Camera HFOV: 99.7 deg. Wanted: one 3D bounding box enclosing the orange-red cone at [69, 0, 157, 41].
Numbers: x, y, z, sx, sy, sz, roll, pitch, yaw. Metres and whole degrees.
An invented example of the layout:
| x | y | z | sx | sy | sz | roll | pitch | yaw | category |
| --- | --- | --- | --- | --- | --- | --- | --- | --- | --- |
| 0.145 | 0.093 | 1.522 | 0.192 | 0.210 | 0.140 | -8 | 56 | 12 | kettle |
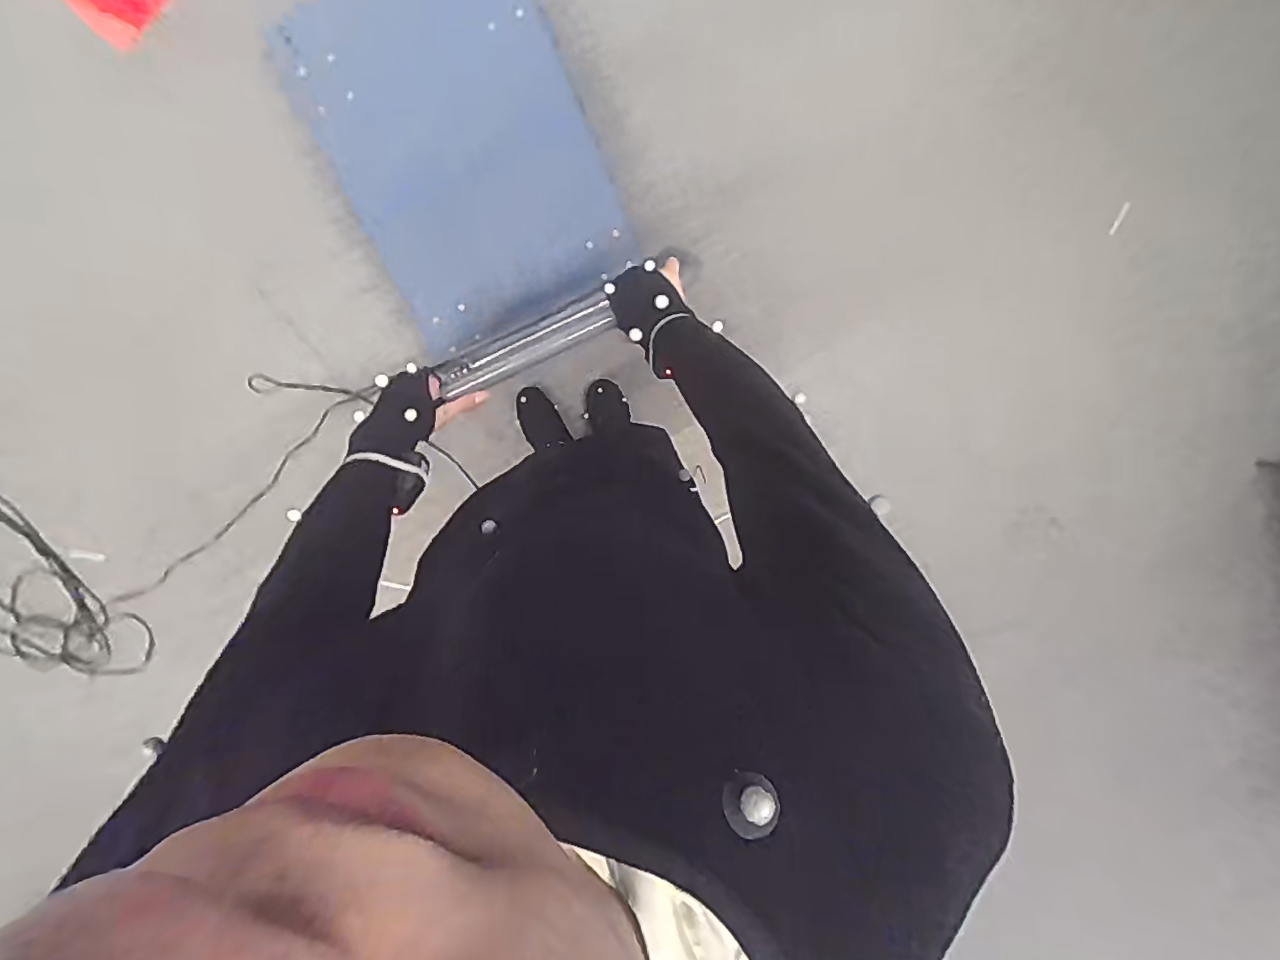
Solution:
| x | y | z | sx | sy | sz | roll | pitch | yaw | category |
| --- | --- | --- | --- | --- | --- | --- | --- | --- | --- |
| -1.220 | -1.116 | 1.082 | 0.199 | 0.360 | 0.198 | -43 | 102 | 7 | orange-red cone |
